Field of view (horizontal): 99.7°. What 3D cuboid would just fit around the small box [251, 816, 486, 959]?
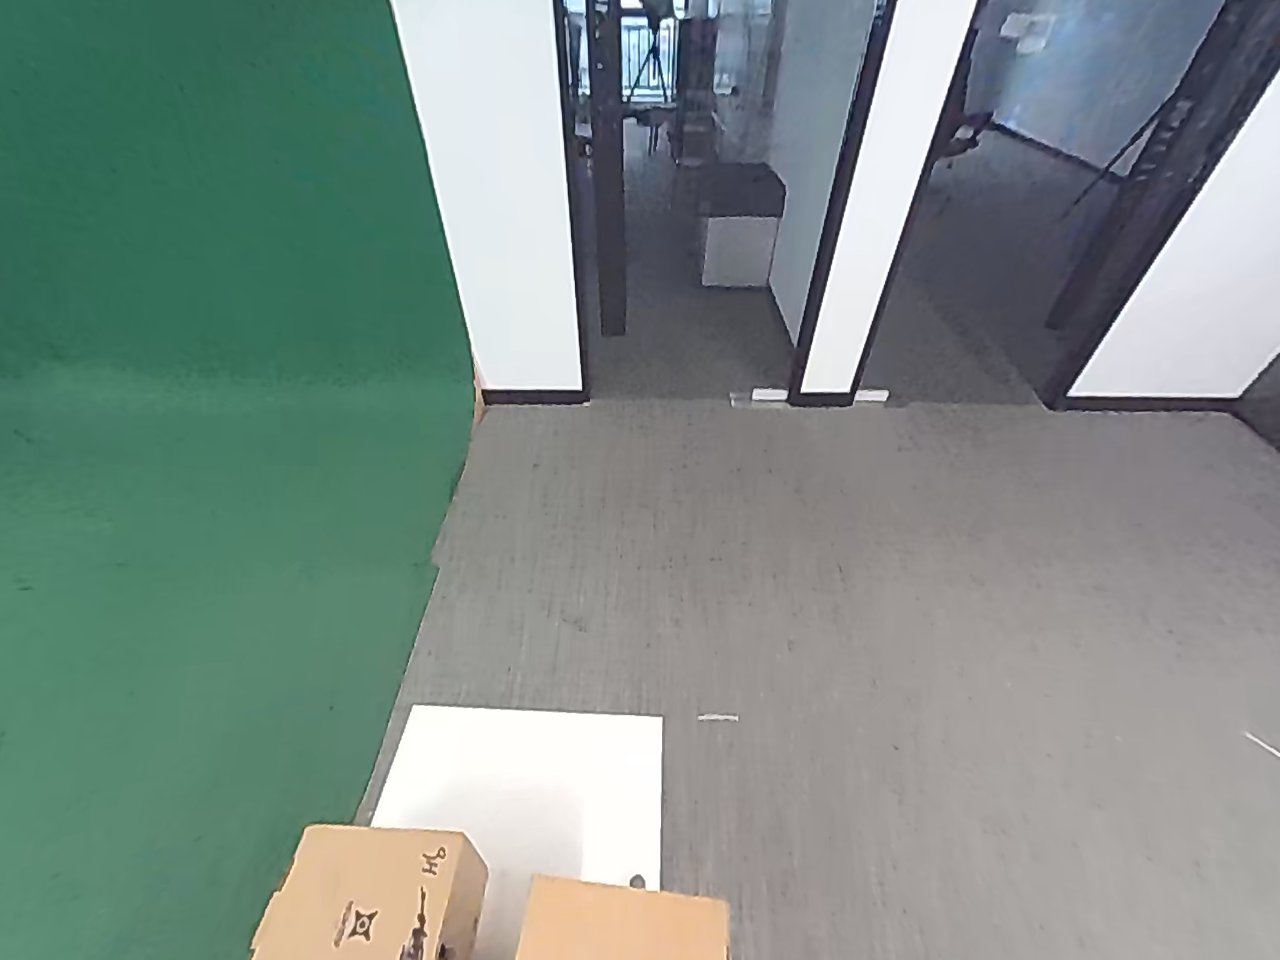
[{"bbox_3d":[-0.284,0.491,0.594,0.179,0.176,0.168,3,44,0],"label":"small box"}]

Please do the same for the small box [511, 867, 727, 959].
[{"bbox_3d":[-0.025,0.464,0.466,0.179,0.176,0.168,8,42,1],"label":"small box"}]
